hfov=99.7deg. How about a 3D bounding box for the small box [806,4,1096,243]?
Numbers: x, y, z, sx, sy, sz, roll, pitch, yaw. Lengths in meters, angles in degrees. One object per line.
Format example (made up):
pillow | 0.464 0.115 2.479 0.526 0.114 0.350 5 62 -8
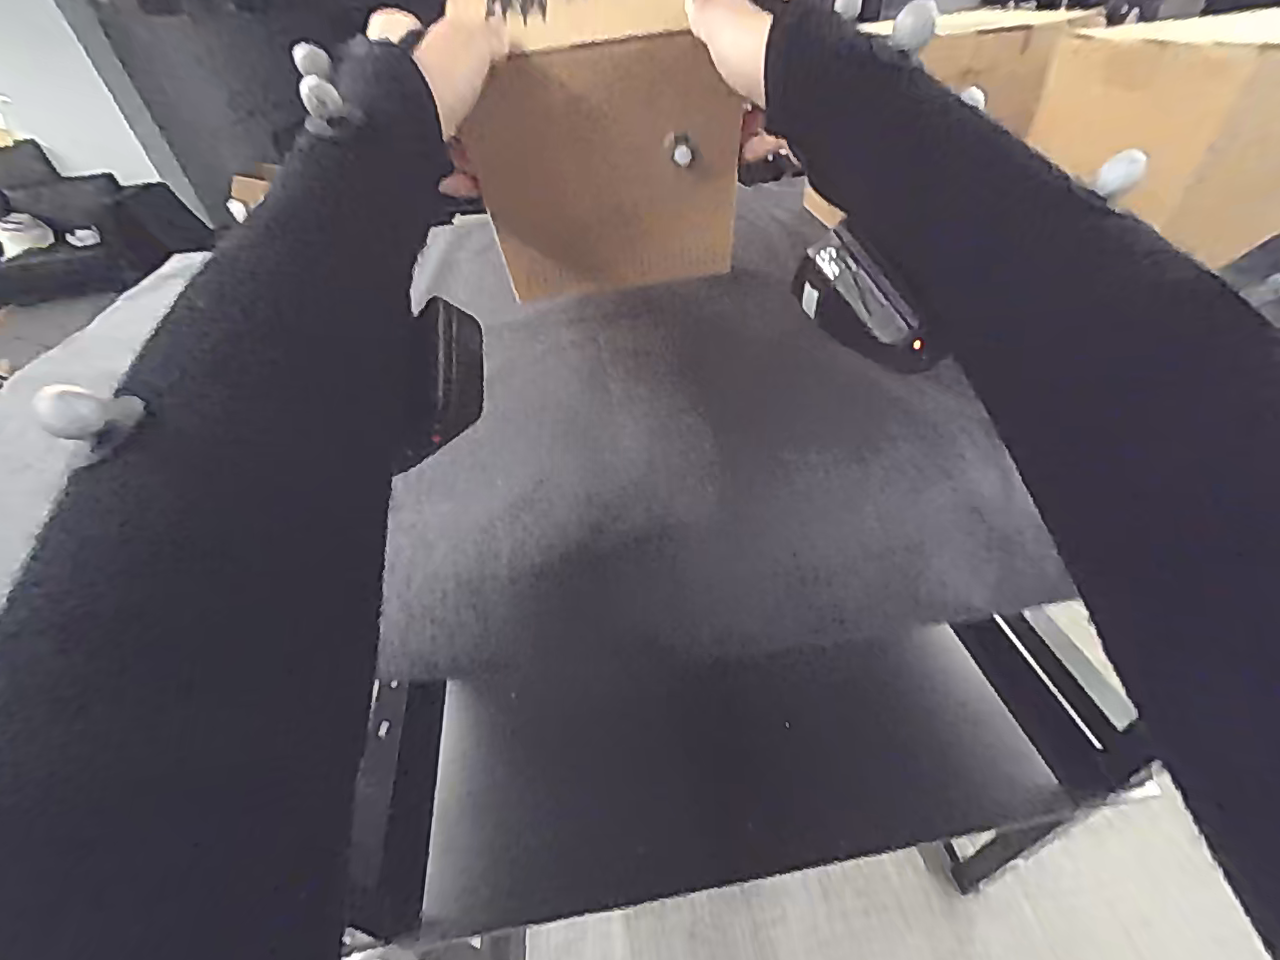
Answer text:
small box | 0.275 -0.344 0.532 0.168 0.176 0.179 -8 41 -1
